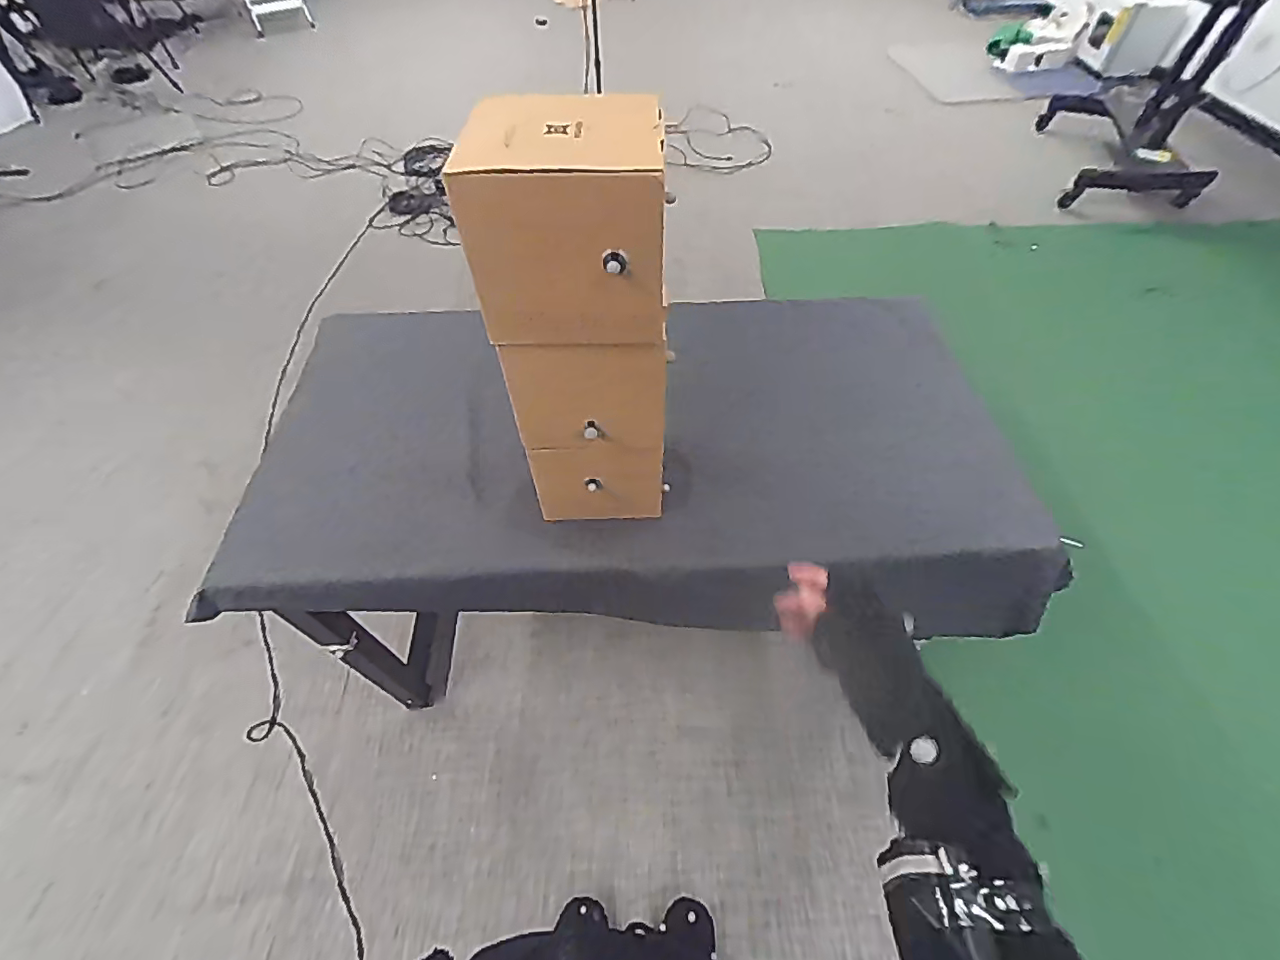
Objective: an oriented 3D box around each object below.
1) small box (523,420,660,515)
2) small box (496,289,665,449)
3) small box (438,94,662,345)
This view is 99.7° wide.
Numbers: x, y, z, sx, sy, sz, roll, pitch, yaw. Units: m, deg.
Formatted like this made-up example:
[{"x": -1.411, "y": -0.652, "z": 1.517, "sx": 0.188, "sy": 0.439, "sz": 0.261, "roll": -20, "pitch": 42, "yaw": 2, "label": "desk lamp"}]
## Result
[{"x": -0.063, "y": -0.061, "z": 0.795, "sx": 0.179, "sy": 0.176, "sz": 0.168, "roll": -2, "pitch": 53, "yaw": 0, "label": "small box"}, {"x": -0.065, "y": -0.153, "z": 0.664, "sx": 0.179, "sy": 0.176, "sz": 0.168, "roll": -4, "pitch": 55, "yaw": -1, "label": "small box"}, {"x": -0.069, "y": -0.249, "z": 0.530, "sx": 0.179, "sy": 0.176, "sz": 0.168, "roll": -2, "pitch": 52, "yaw": 1, "label": "small box"}]
